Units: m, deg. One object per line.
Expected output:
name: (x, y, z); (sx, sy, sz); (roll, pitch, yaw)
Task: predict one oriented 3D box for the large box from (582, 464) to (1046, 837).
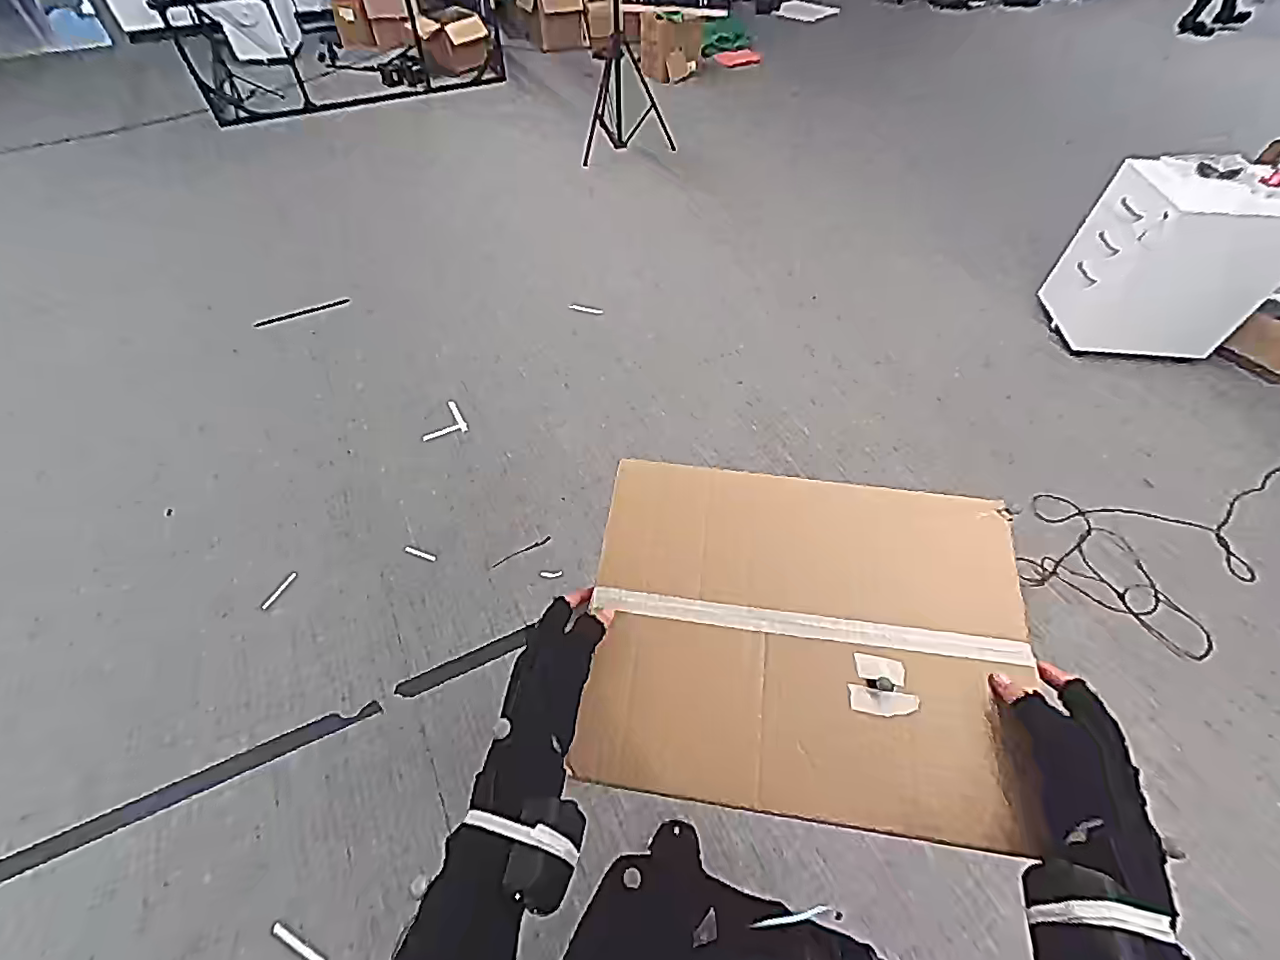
large box: (0.166, 0.204, 0.661); (0.408, 0.320, 0.320); (7, 65, 6)
